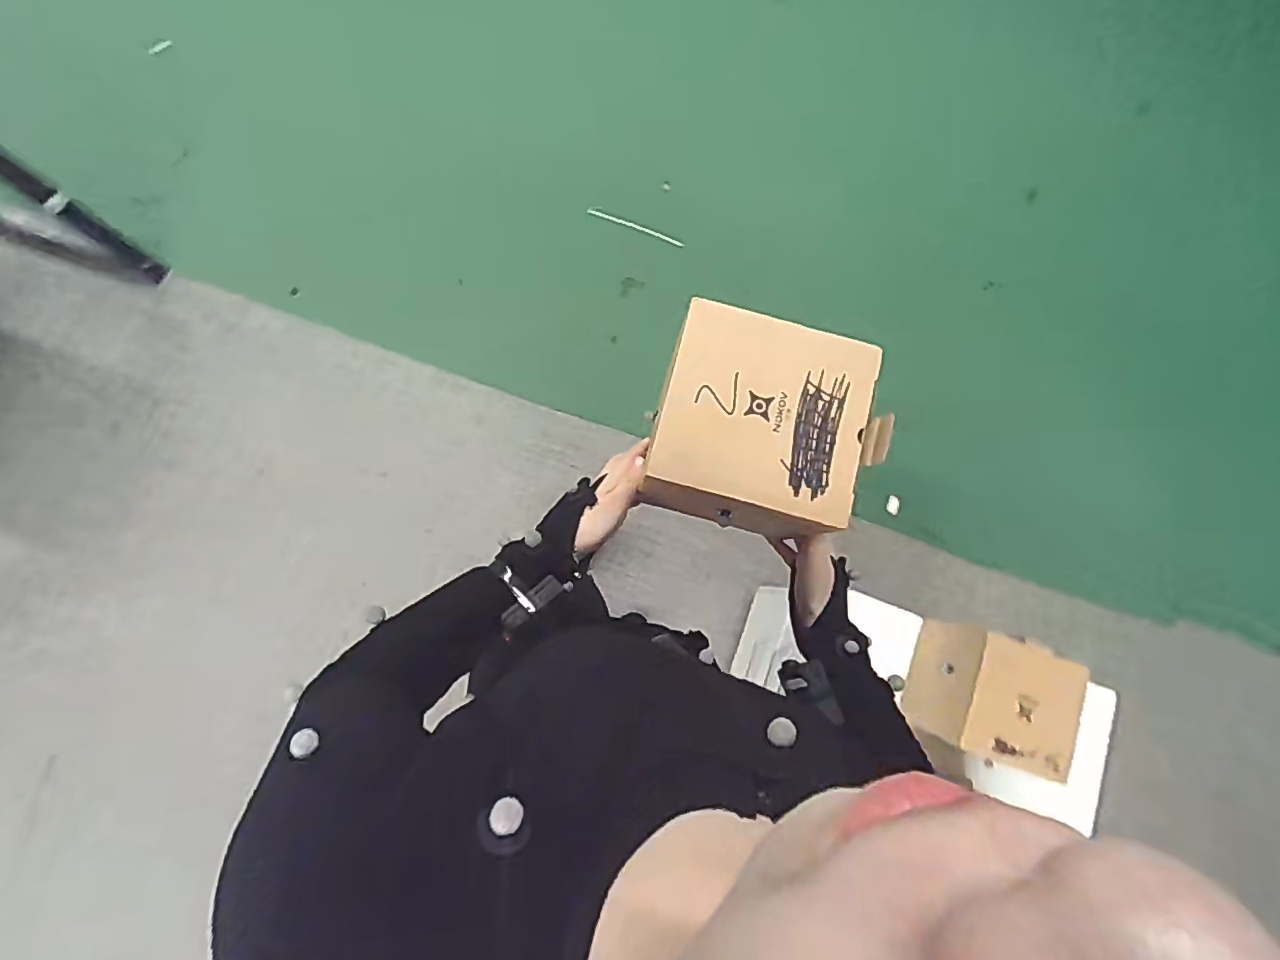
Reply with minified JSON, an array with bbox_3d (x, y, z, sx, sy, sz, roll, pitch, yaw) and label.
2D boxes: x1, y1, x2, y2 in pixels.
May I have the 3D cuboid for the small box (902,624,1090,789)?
[{"bbox_3d":[0.545,0.339,0.849,0.168,0.176,0.179,21,79,0],"label":"small box"}]
